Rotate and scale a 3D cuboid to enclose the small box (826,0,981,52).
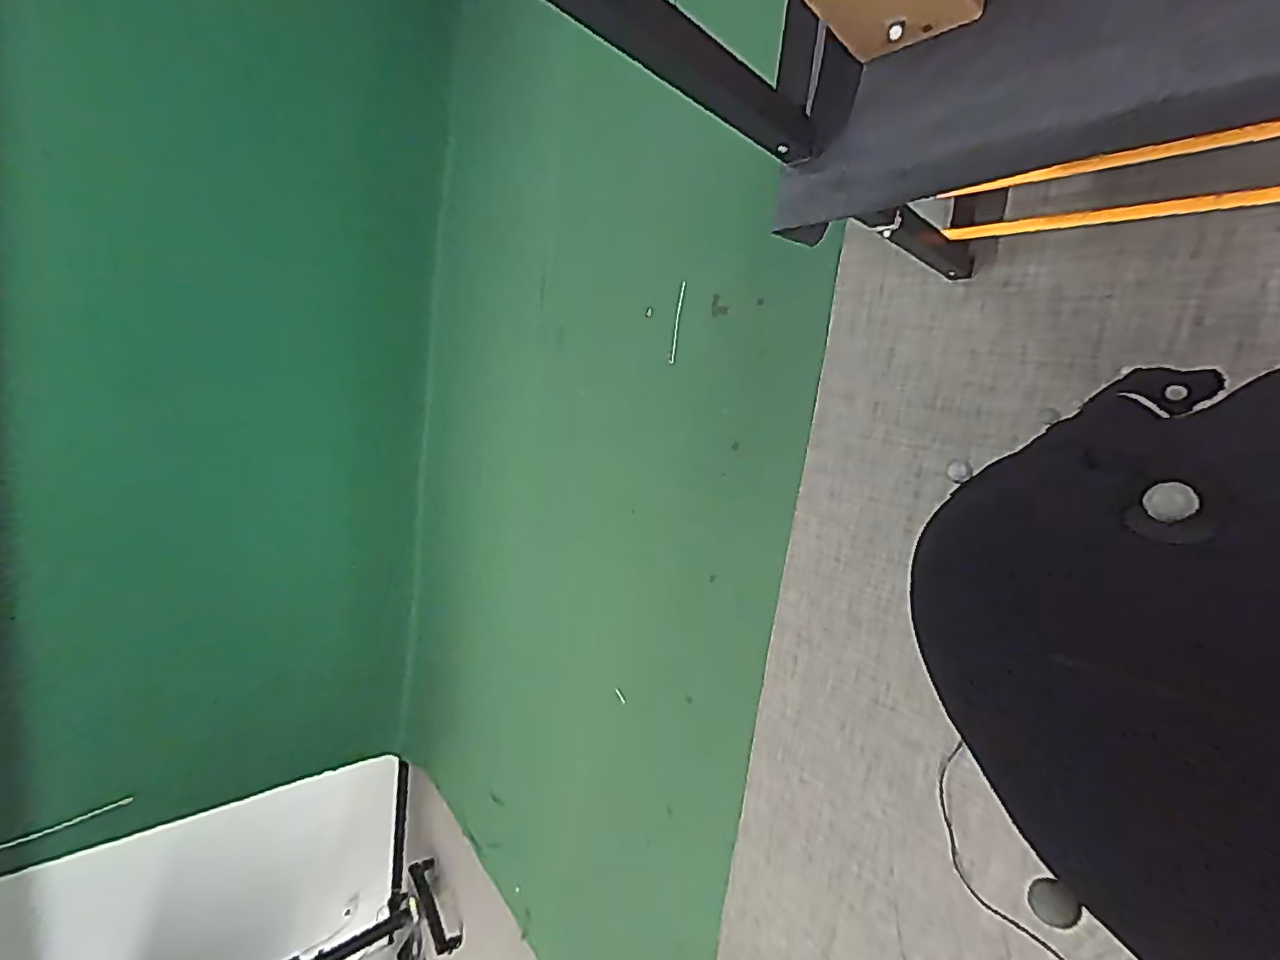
[{"bbox_3d":[0.341,-0.710,0.692,0.168,0.176,0.179,16,103,47],"label":"small box"}]
